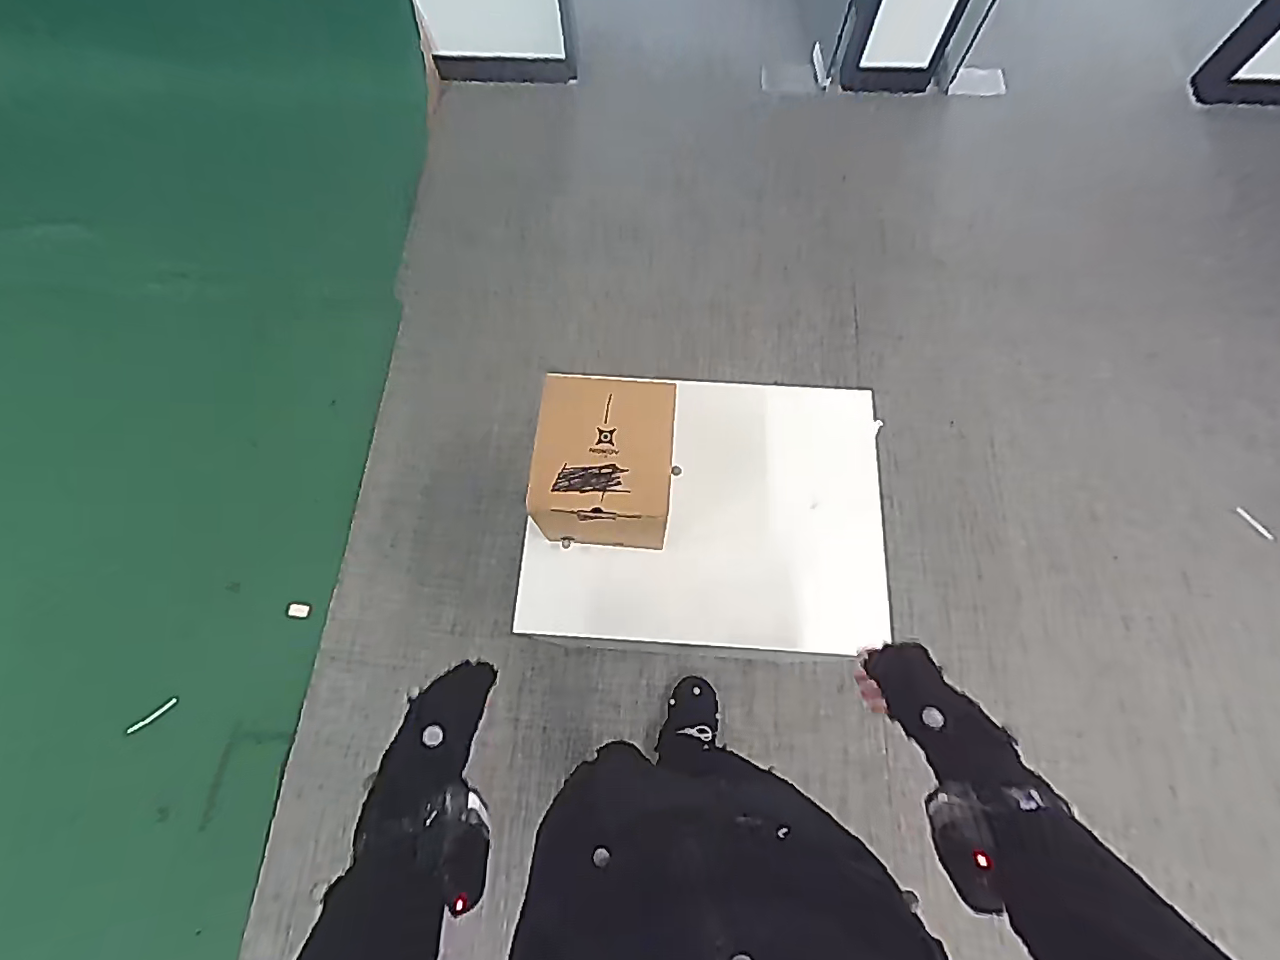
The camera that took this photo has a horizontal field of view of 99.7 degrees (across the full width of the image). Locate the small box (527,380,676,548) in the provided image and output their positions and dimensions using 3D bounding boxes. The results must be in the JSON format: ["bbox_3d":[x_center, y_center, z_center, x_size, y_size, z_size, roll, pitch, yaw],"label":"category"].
[{"bbox_3d":[-0.042,-0.013,0.722,0.168,0.176,0.179,4,70,2],"label":"small box"}]
